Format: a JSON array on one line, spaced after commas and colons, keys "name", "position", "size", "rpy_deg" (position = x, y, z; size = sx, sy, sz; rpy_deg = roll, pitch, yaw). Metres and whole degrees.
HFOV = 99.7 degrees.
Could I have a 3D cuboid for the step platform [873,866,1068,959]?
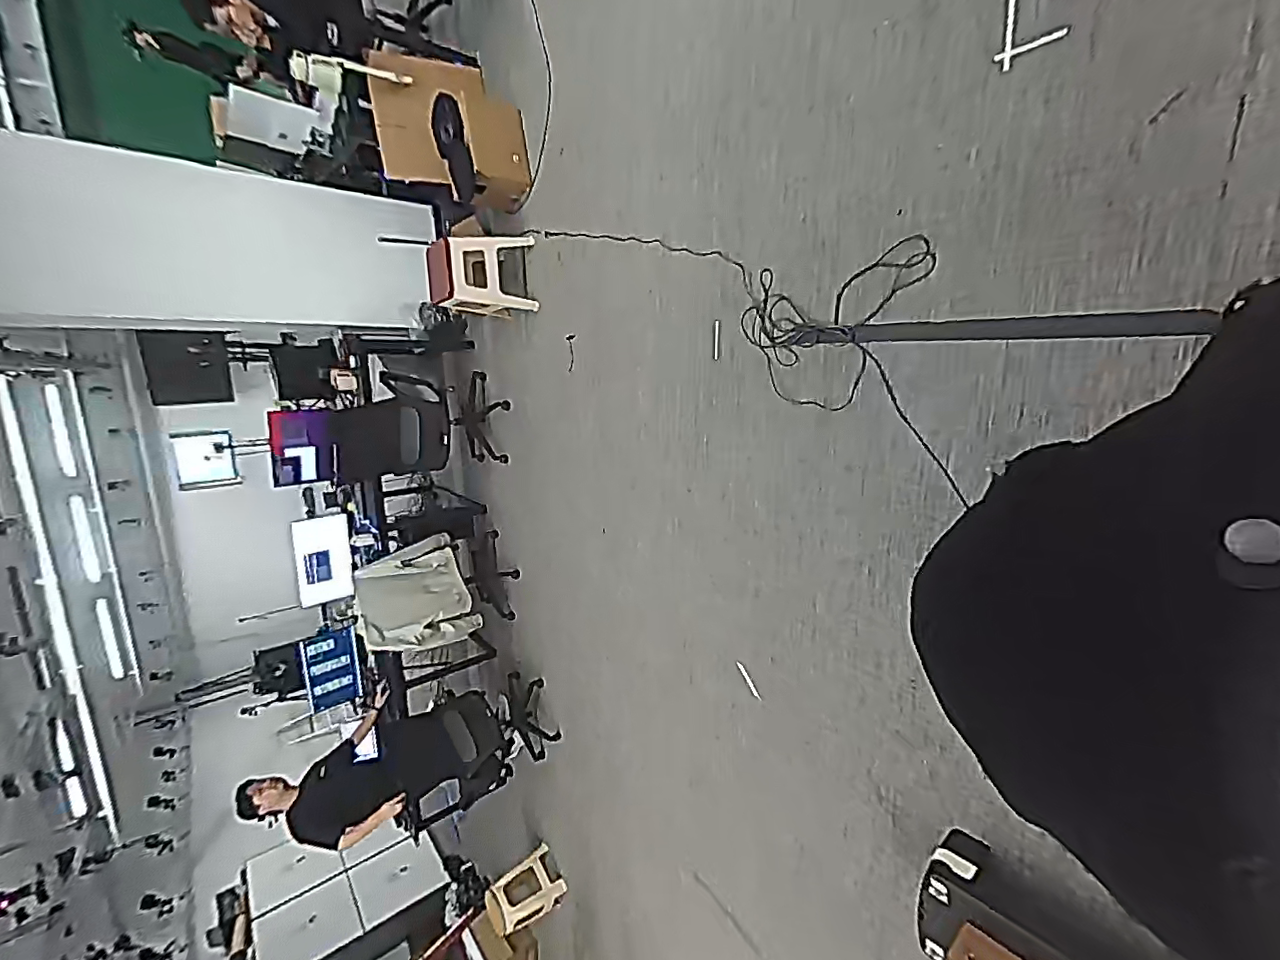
[{"name": "step platform", "position": [0.876, 1.197, 1.165], "size": [0.684, 0.204, 0.286], "rpy_deg": [12, 108, 50]}]
